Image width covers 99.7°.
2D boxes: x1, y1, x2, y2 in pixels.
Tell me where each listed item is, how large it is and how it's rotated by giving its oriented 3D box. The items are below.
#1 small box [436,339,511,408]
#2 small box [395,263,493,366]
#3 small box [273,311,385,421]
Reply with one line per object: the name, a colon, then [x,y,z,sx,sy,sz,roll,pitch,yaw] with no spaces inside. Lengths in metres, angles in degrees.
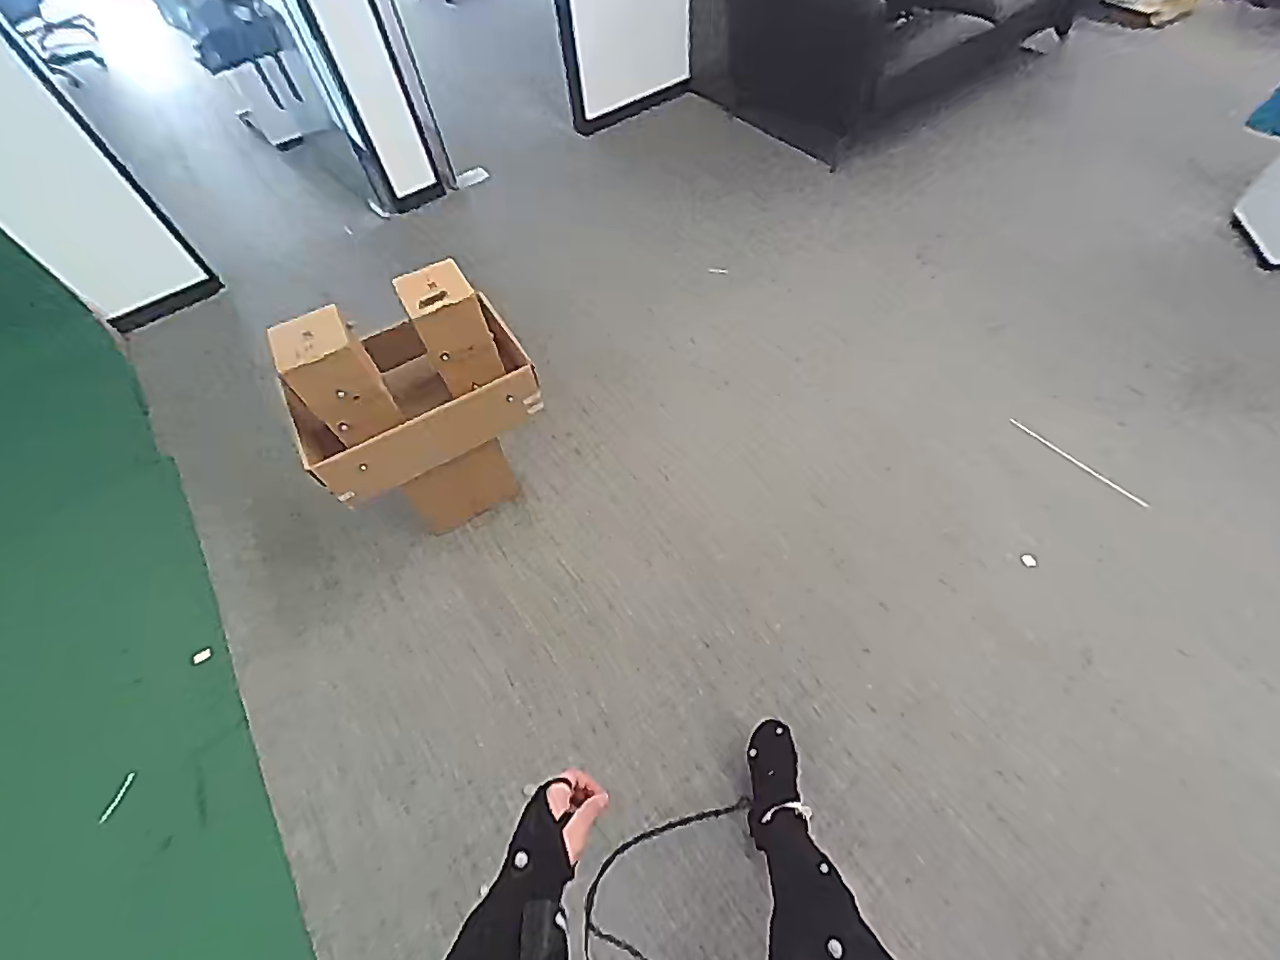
small box: [-0.495,-0.340,1.554,0.168,0.176,0.179,-29,60,-14]
small box: [-0.505,-0.423,1.412,0.168,0.176,0.179,-27,59,-13]
small box: [-0.766,-0.279,1.340,0.168,0.176,0.179,-28,59,-12]
